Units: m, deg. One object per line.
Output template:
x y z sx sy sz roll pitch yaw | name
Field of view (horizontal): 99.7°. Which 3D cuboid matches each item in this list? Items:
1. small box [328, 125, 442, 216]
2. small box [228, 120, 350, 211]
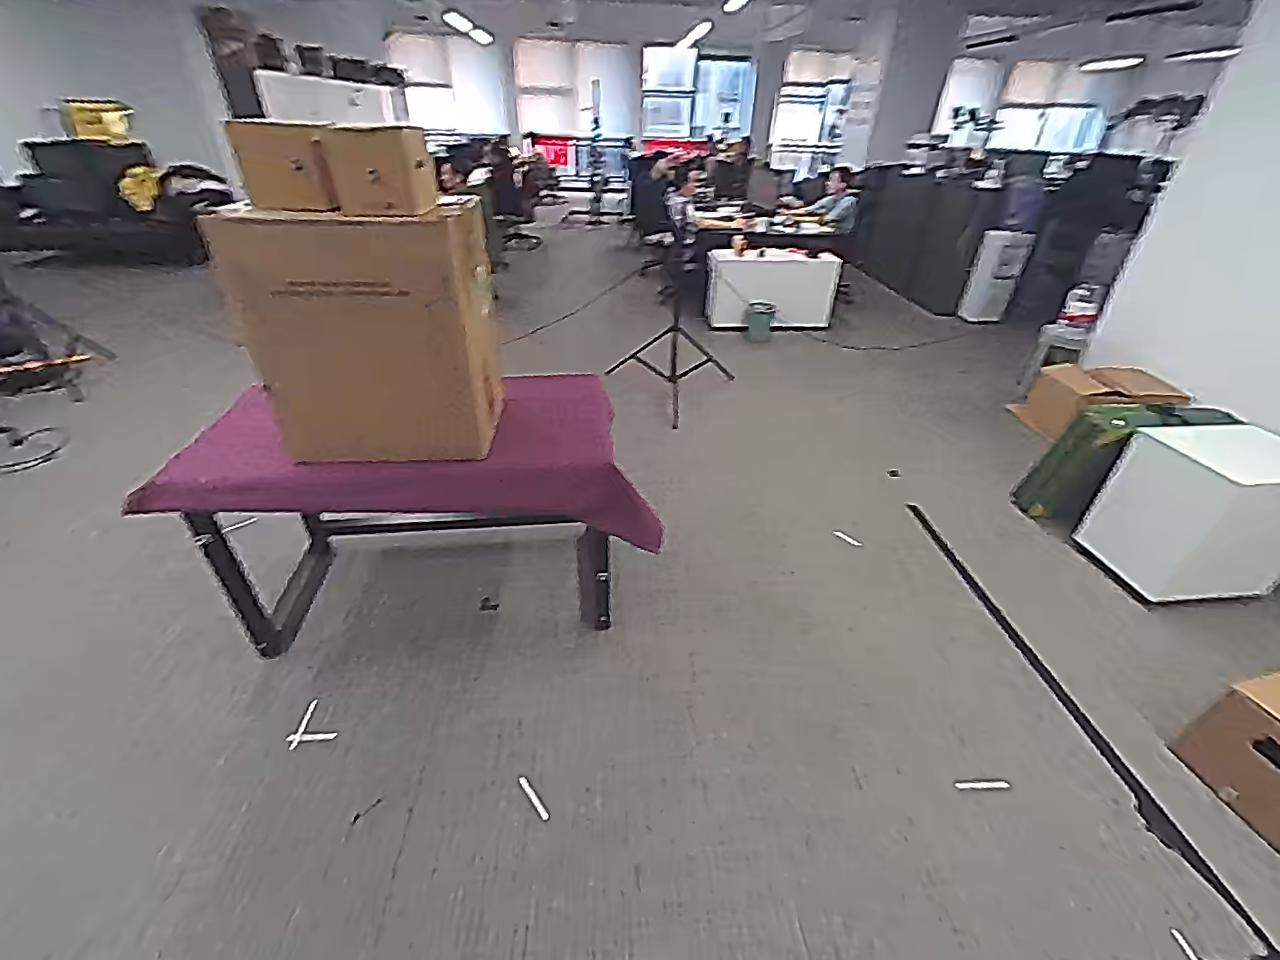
-0.563 -0.699 1.222 0.168 0.176 0.179 -1 34 -2 | small box
-0.786 -0.726 1.247 0.179 0.176 0.168 -1 34 -5 | small box
